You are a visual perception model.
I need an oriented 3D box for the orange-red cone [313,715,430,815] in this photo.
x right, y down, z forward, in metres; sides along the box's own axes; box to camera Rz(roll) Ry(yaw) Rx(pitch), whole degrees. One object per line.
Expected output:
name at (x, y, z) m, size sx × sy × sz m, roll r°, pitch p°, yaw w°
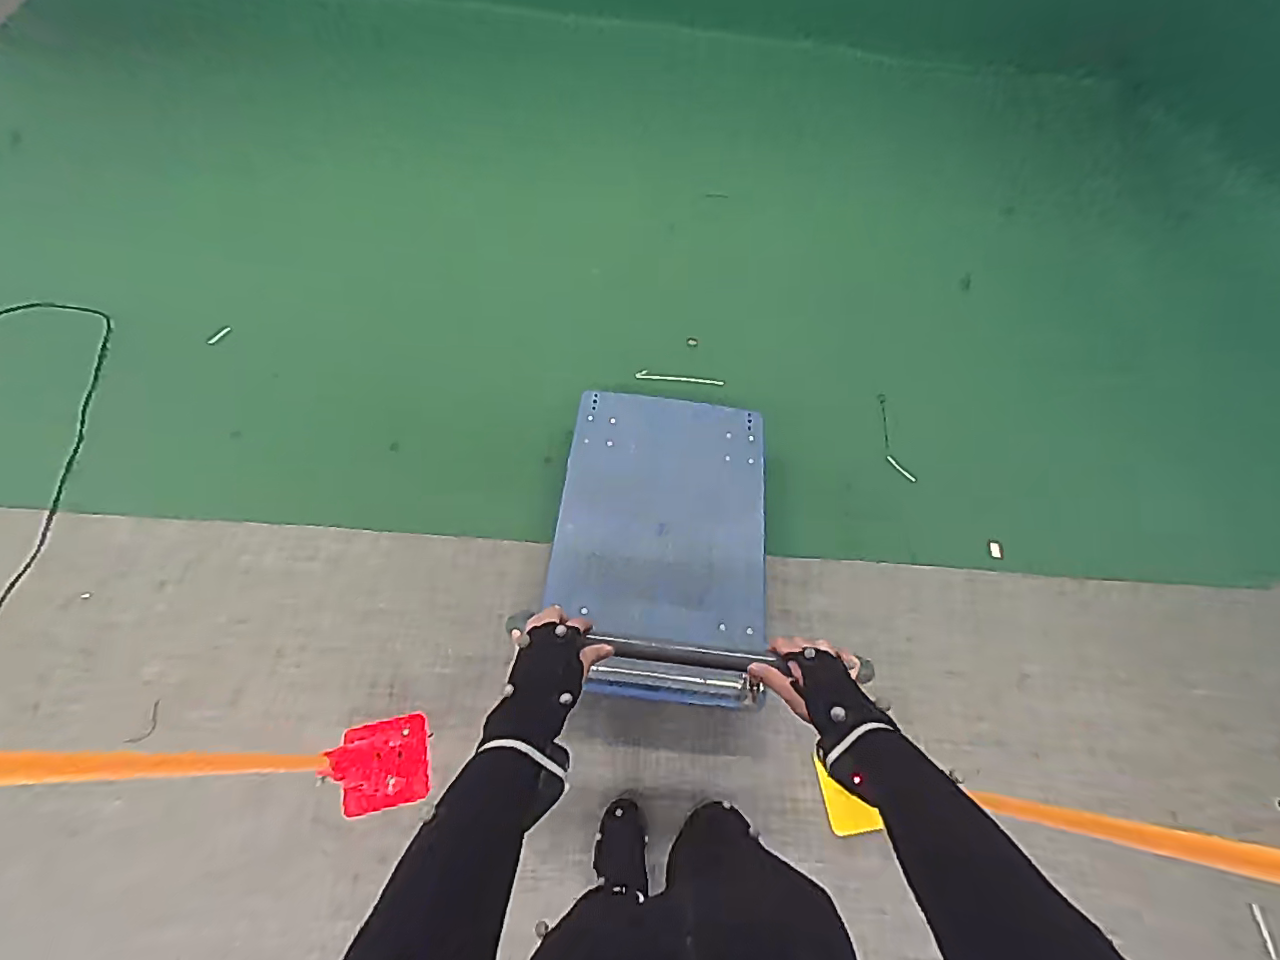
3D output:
orange-red cone at (-0.610, 0.617, 1.176) m, size 0.199 × 0.360 × 0.198 m, roll -10°, pitch 64°, yaw -8°
